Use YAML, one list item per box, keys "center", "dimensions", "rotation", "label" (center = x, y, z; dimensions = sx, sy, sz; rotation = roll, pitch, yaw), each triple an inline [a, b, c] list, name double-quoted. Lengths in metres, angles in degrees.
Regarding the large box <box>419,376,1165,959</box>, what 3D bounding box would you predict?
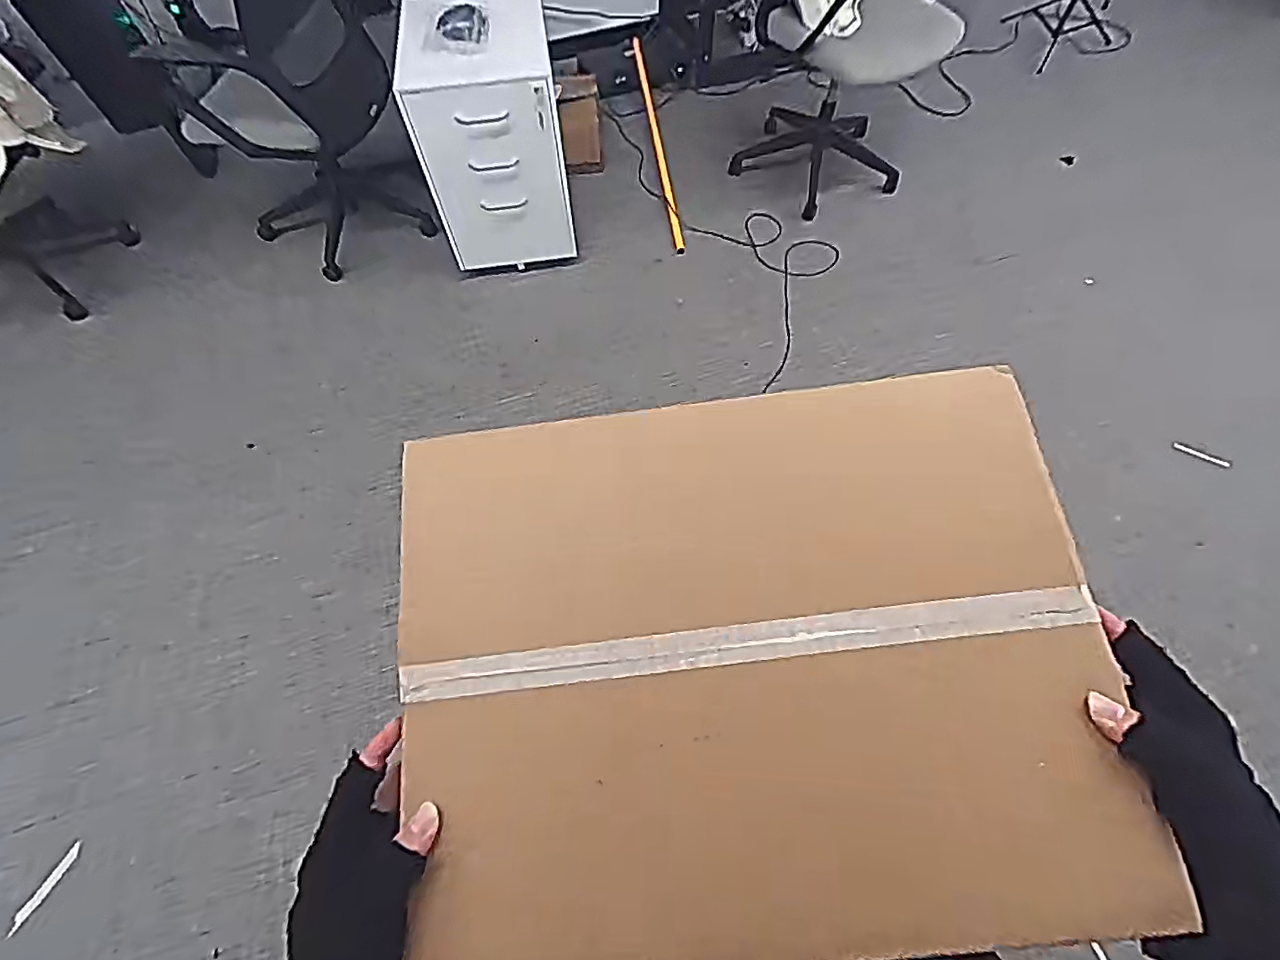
- center: [0.069, 0.144, 0.471]
  dimensions: [0.408, 0.320, 0.320]
  rotation: [-7, 74, 2]
  label: "large box"
